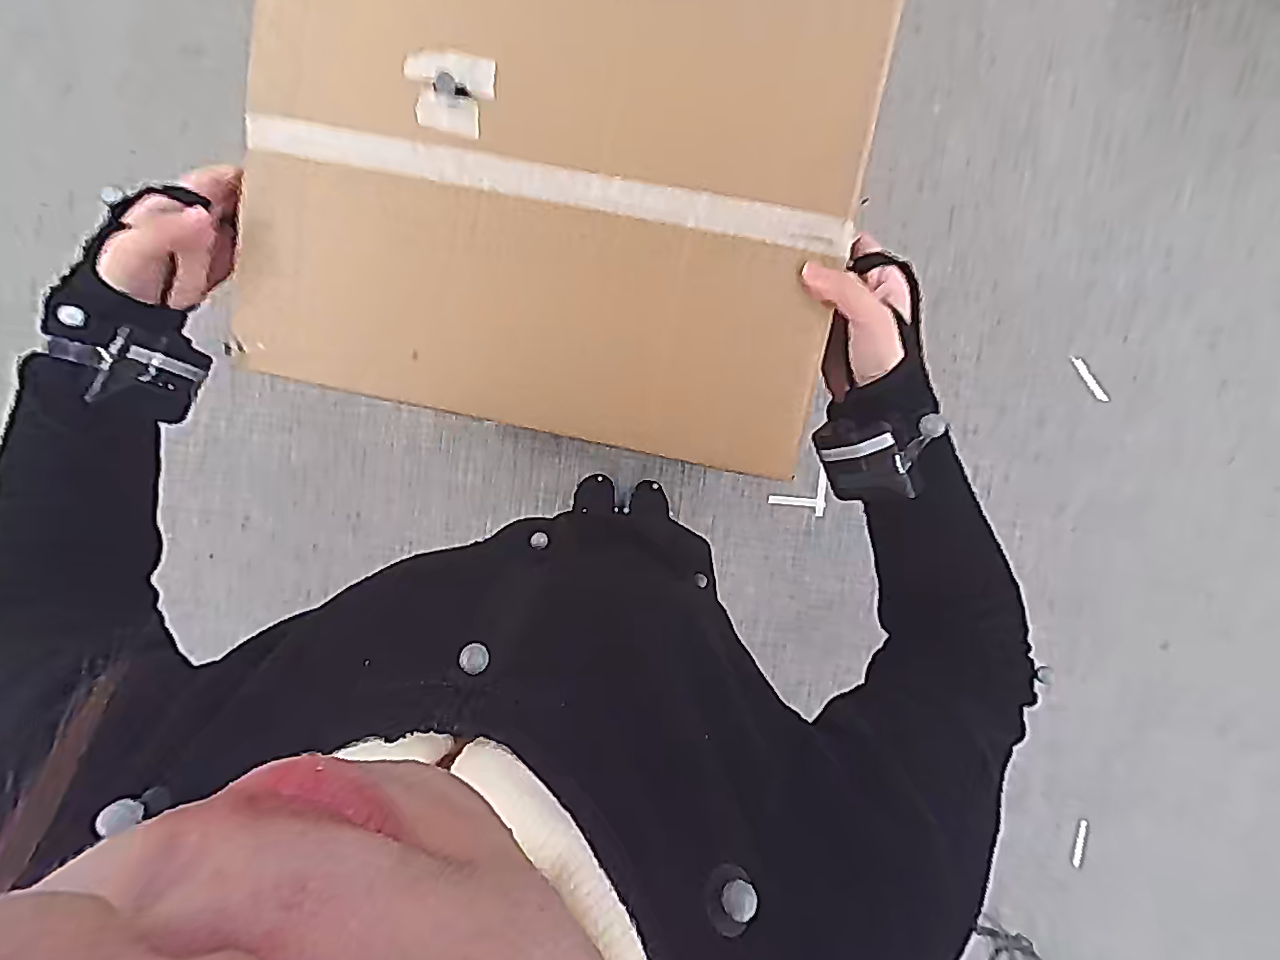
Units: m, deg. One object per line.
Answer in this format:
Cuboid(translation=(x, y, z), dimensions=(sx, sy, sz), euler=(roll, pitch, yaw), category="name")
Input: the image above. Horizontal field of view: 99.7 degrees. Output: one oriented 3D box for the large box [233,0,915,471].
Cuboid(translation=(-0.044, -0.210, 0.483), dimensions=(0.408, 0.320, 0.320), euler=(12, 98, 4), category="large box")
